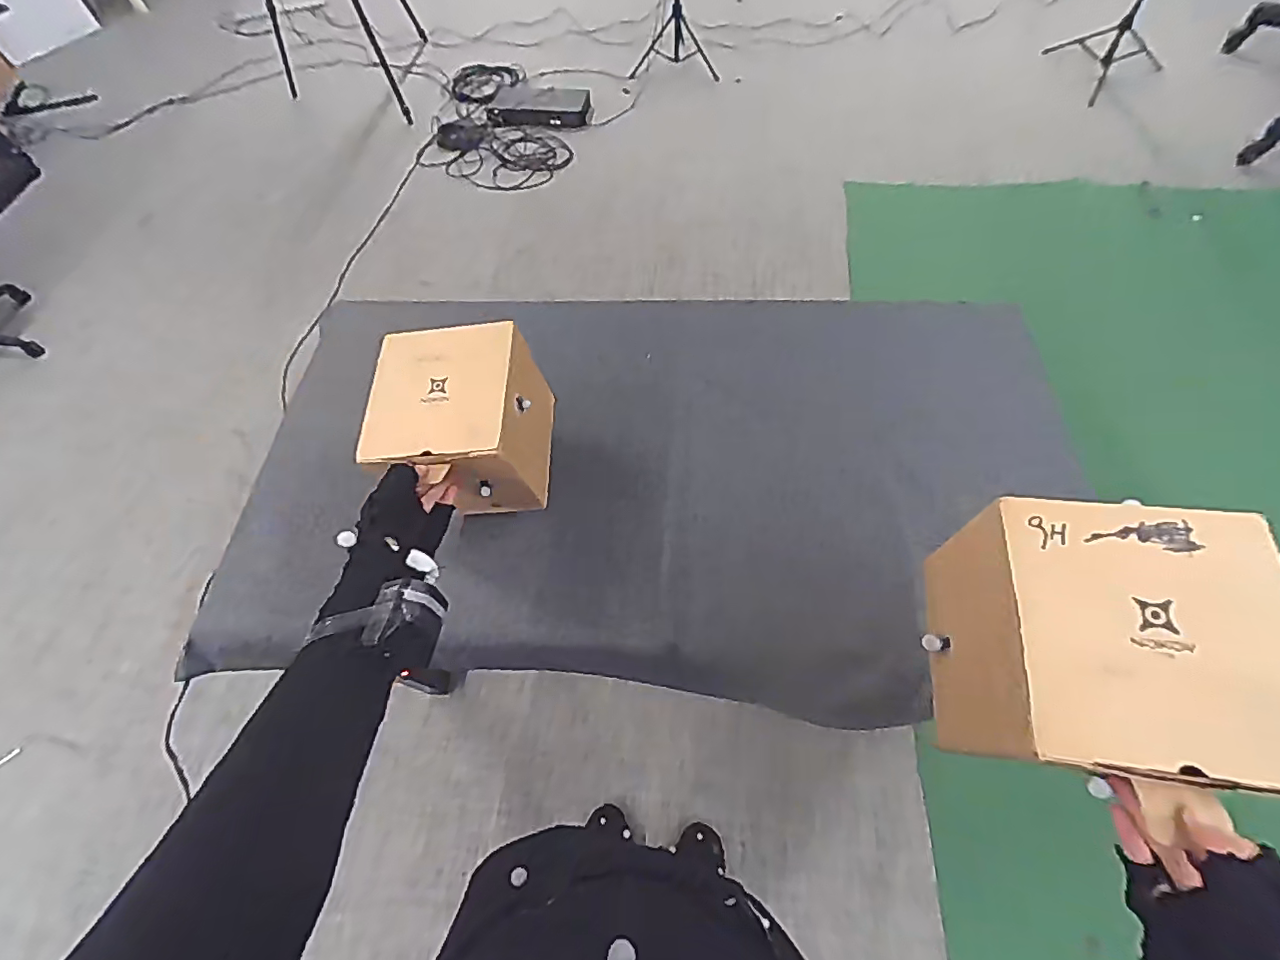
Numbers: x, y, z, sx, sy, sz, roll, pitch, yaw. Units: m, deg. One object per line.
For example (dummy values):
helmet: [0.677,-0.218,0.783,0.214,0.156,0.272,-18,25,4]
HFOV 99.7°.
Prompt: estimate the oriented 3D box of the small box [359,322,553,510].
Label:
small box: [-0.213,-0.068,0.680,0.168,0.176,0.179,-4,63,7]
